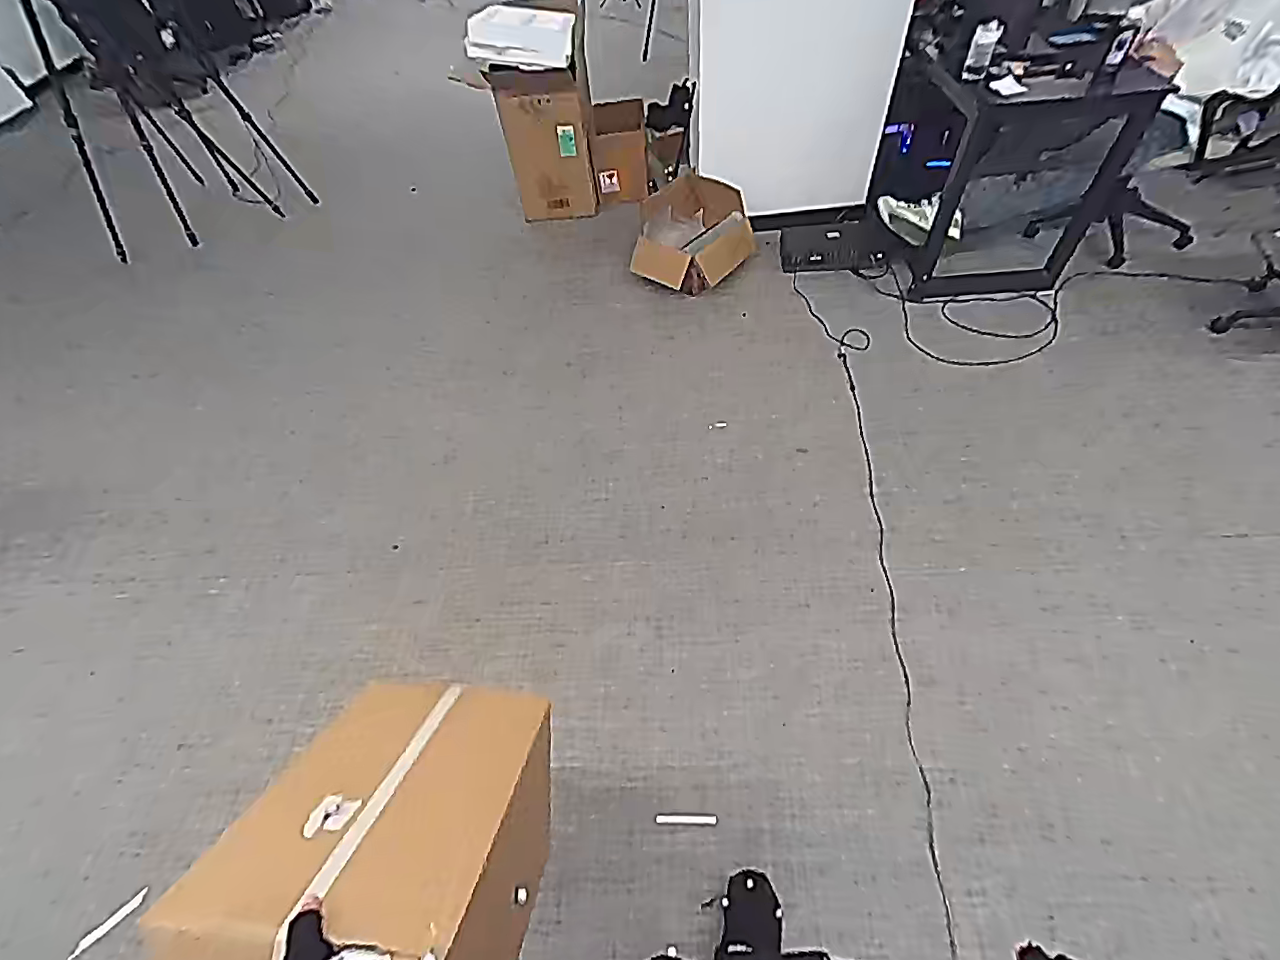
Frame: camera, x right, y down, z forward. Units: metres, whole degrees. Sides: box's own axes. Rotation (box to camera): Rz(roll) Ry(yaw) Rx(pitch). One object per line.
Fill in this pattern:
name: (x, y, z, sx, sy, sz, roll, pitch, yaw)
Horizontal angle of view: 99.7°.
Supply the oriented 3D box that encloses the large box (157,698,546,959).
large box: (-0.329, 0.573, 0.757, 0.320, 0.320, 0.408, 3, 13, 6)
